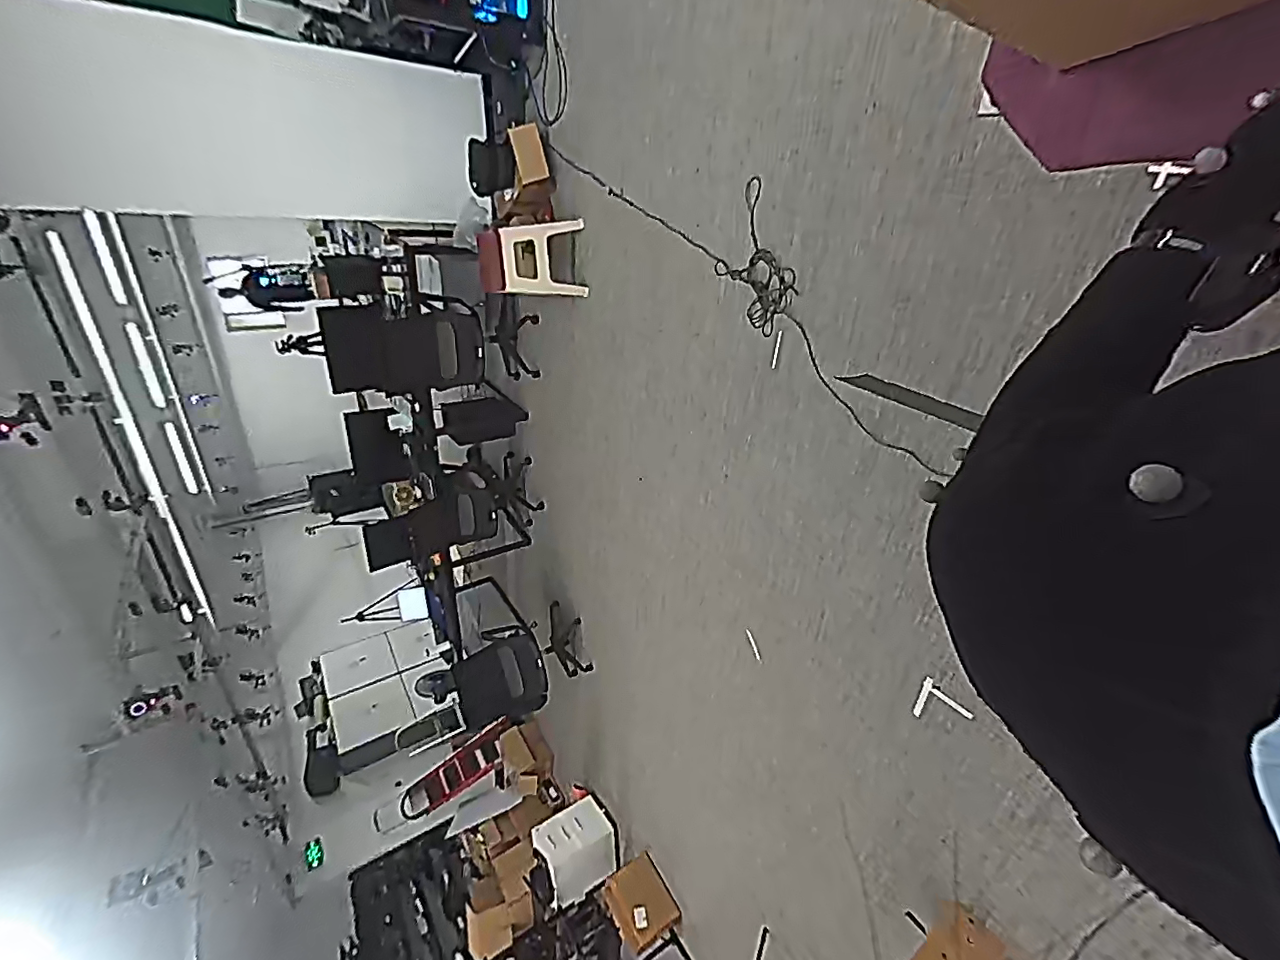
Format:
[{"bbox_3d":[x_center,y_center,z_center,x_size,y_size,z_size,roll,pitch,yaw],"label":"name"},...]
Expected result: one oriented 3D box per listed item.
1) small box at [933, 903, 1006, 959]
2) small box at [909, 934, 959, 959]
[{"bbox_3d":[1.065,1.554,1.779,0.168,0.176,0.179,36,132,46],"label":"small box"},{"bbox_3d":[0.928,1.597,1.702,0.168,0.176,0.179,38,132,45],"label":"small box"}]
